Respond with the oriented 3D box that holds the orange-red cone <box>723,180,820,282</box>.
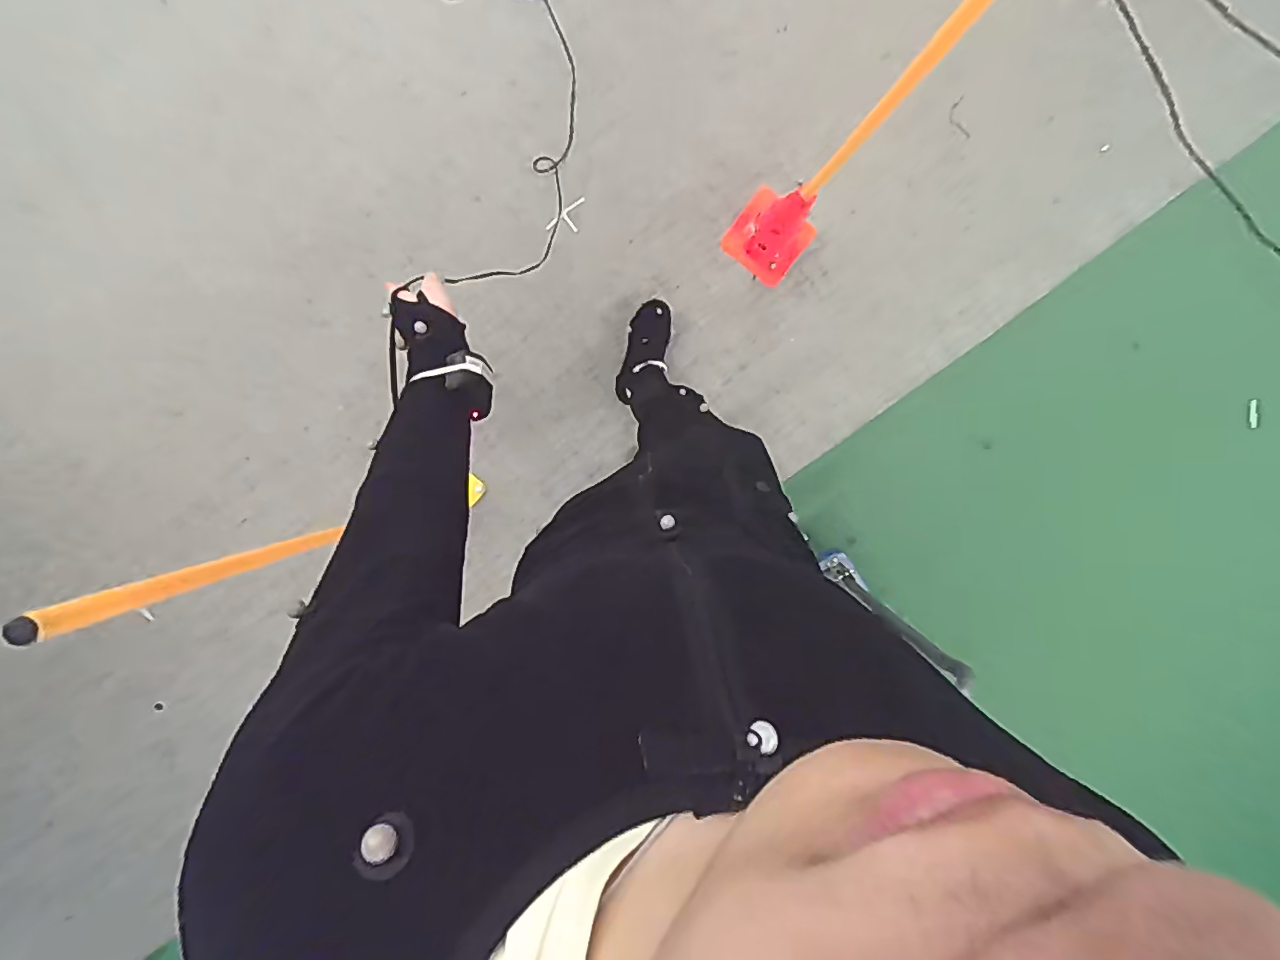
[{"bbox_3d":[0.362,-0.653,1.328,0.198,0.360,0.199,38,96,-7],"label":"orange-red cone"}]
